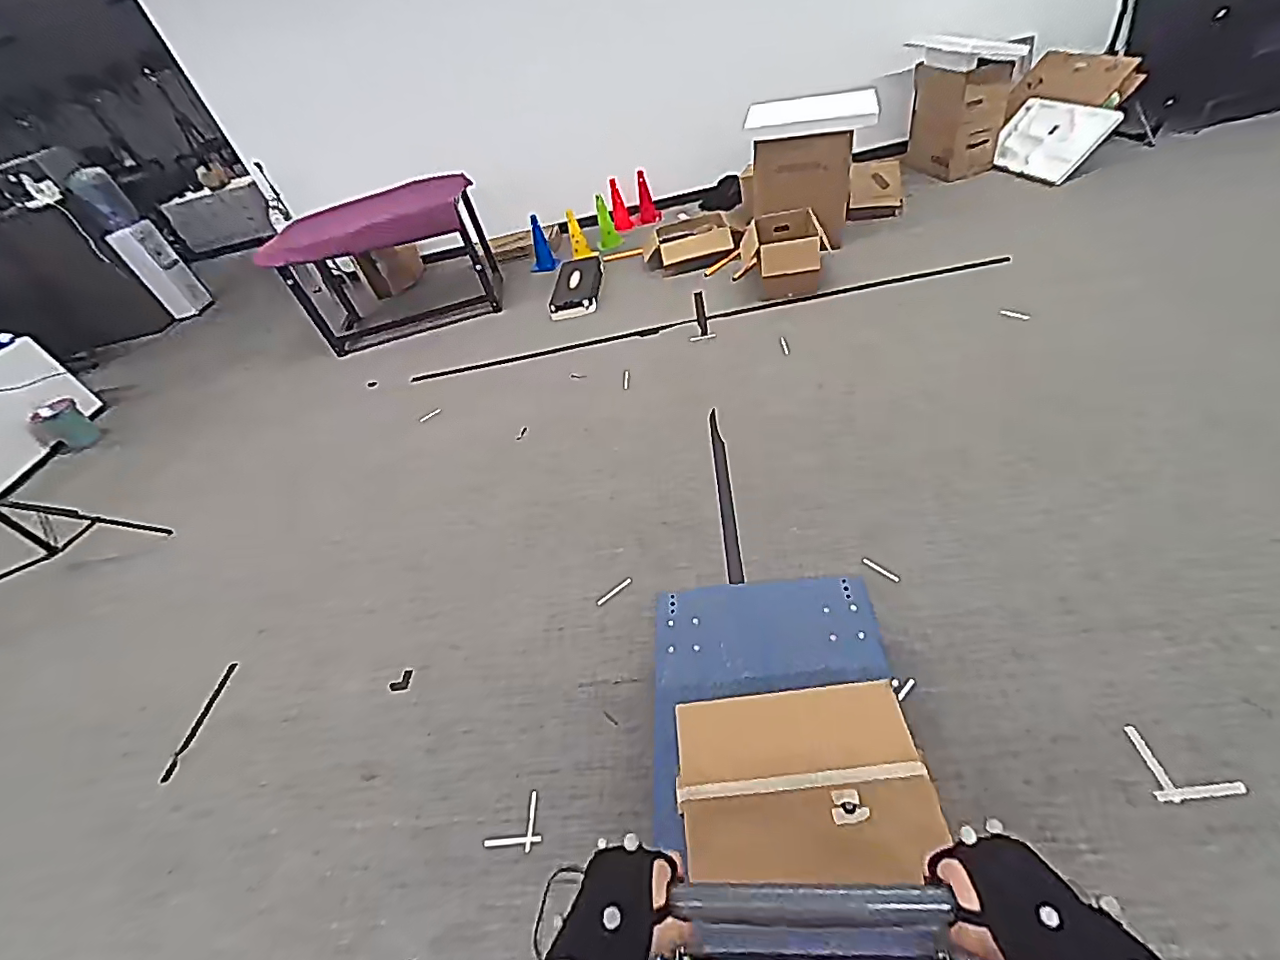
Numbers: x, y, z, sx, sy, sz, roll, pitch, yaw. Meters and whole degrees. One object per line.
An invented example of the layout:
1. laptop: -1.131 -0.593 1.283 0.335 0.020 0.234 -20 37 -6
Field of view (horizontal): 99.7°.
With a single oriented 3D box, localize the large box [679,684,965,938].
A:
1. large box: 0.303 0.624 1.013 0.408 0.320 0.320 -9 44 6
